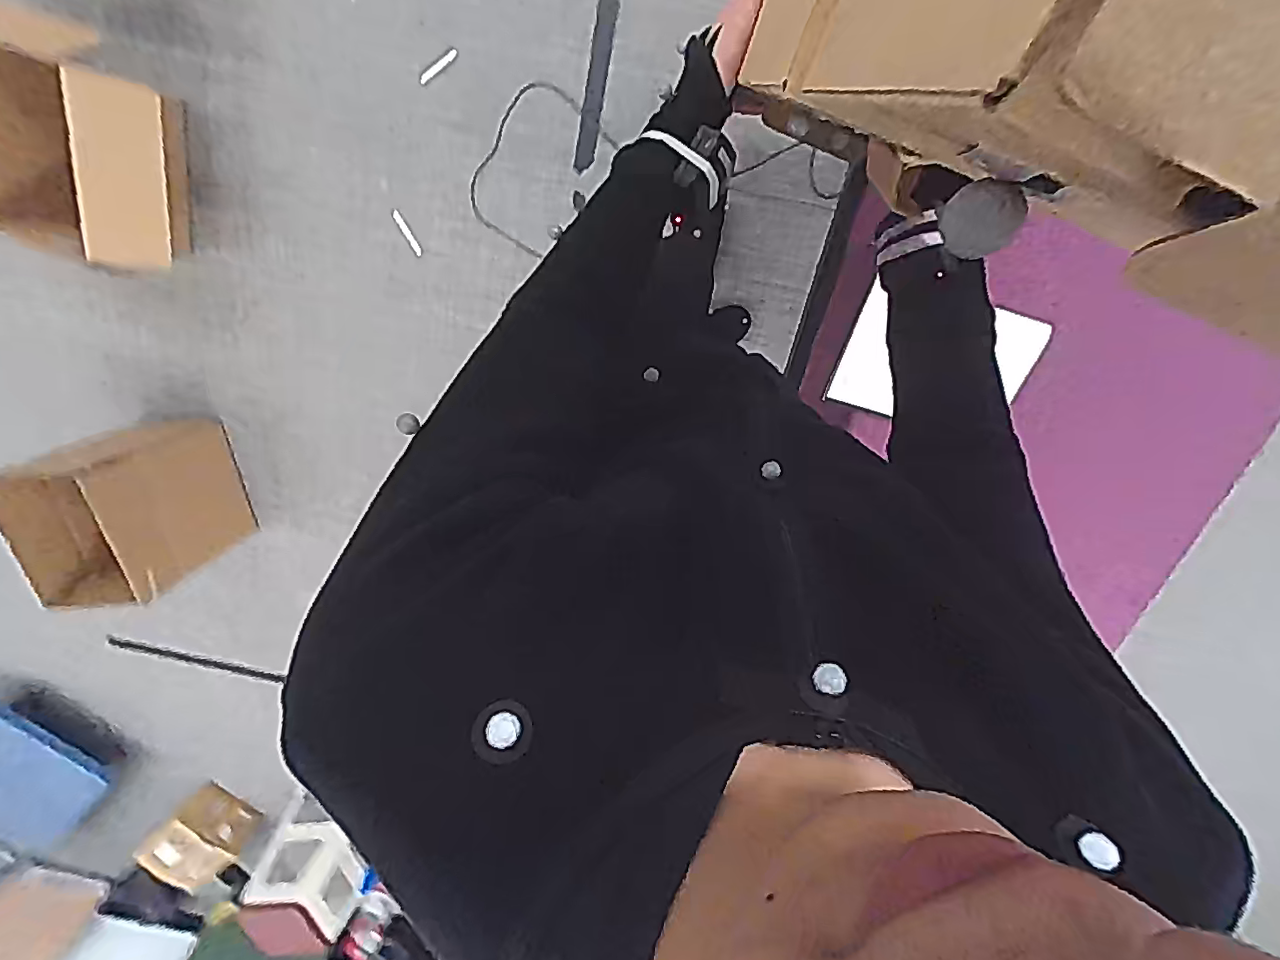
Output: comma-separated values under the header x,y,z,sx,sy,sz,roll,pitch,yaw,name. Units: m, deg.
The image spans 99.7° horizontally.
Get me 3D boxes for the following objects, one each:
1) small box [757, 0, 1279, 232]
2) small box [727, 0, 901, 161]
x,y,z,sx,sy,sz,roll,pitch,yaw,name
0.155,-0.229,0.216,0.168,0.176,0.179,16,126,-5,small box
0.187,-0.418,0.484,0.168,0.176,0.179,18,125,-6,small box
